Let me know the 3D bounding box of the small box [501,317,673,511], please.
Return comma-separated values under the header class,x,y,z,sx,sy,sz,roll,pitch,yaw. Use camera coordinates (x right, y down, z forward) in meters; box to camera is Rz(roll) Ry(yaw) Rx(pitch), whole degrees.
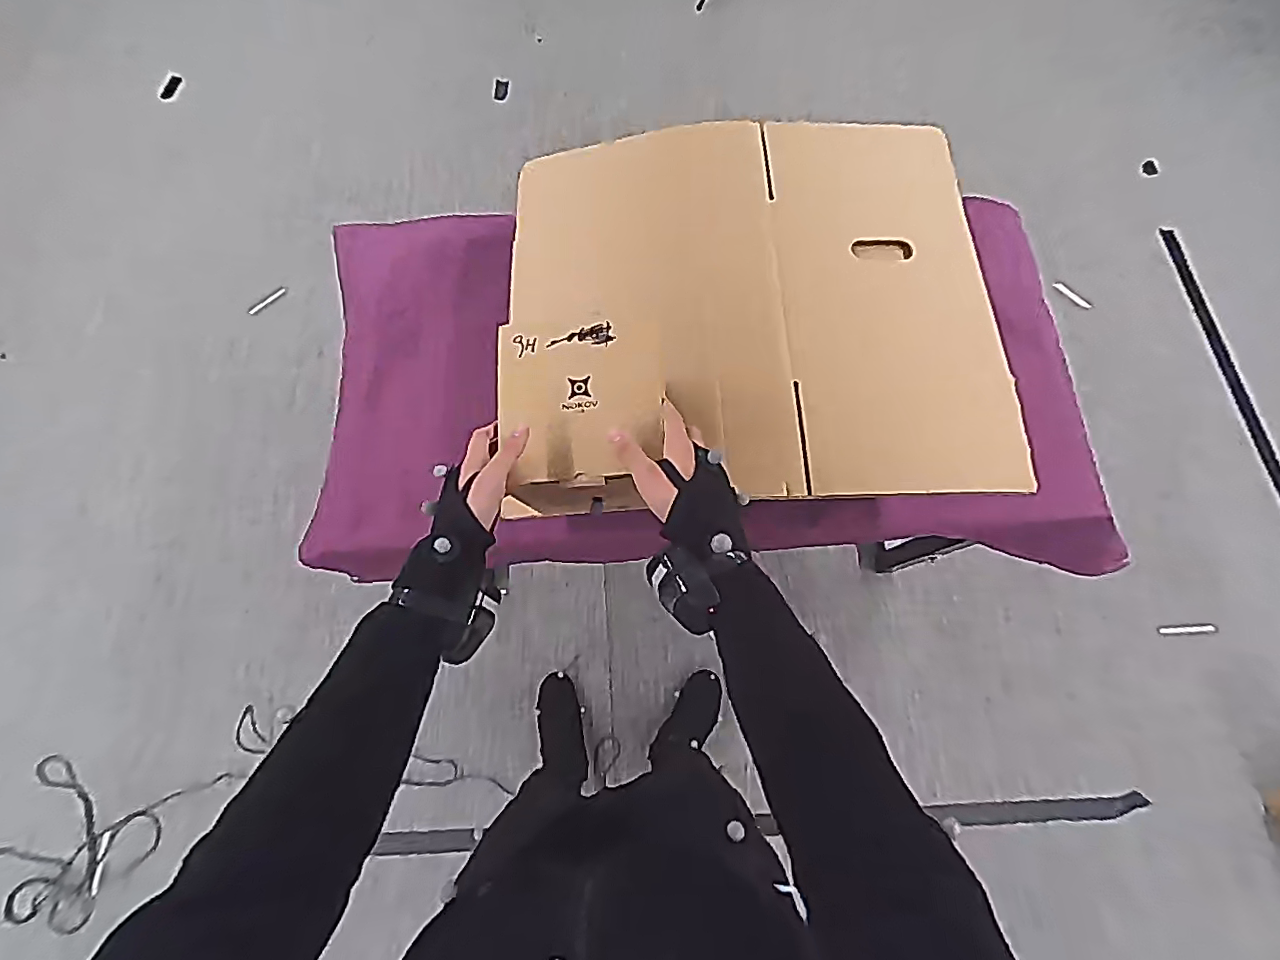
class,x,y,z,sx,sy,sz,roll,pitch,yaw
small box,-0.051,-0.061,0.620,0.168,0.176,0.179,-4,77,5
